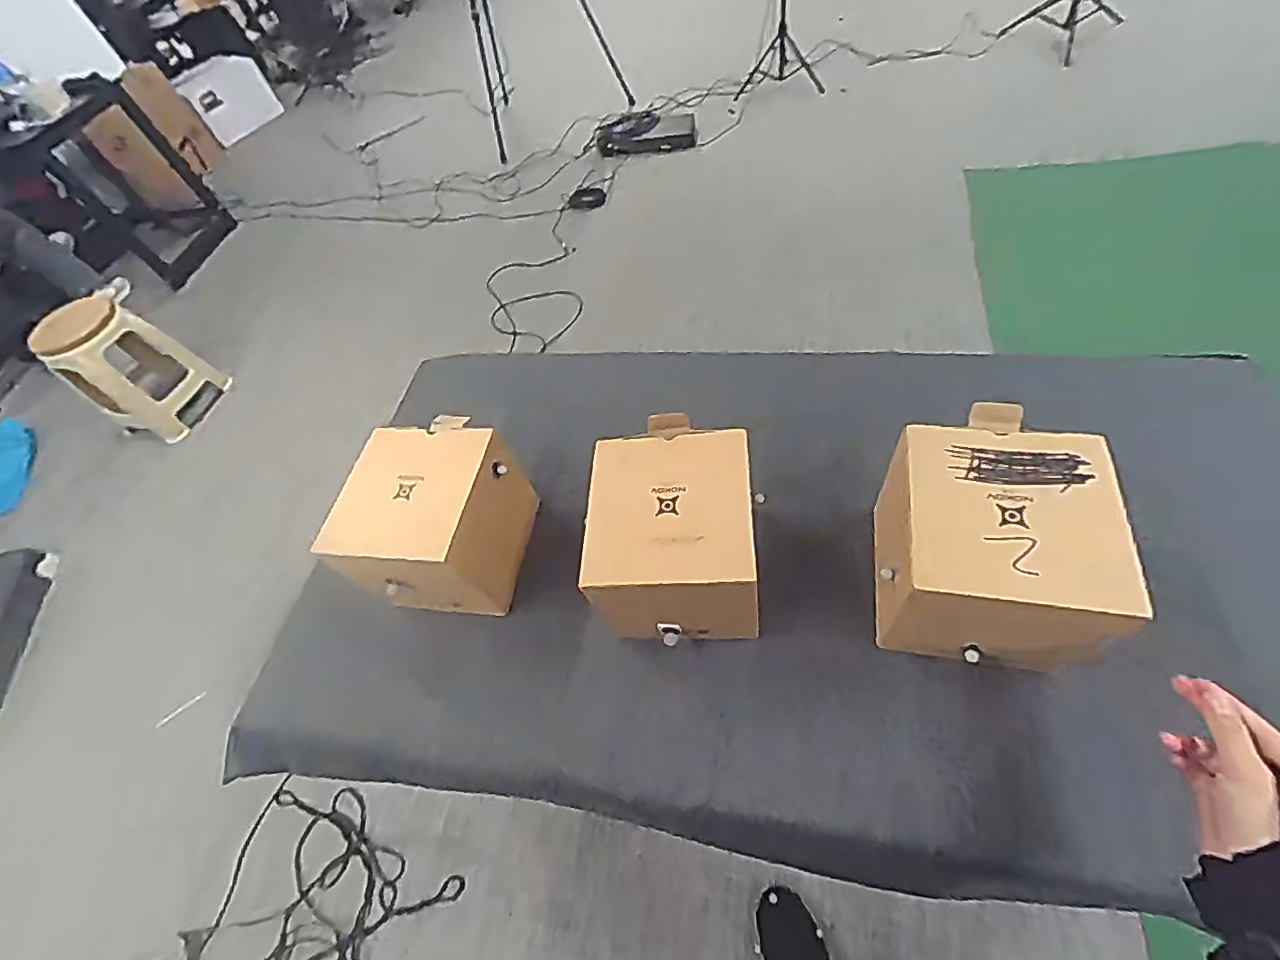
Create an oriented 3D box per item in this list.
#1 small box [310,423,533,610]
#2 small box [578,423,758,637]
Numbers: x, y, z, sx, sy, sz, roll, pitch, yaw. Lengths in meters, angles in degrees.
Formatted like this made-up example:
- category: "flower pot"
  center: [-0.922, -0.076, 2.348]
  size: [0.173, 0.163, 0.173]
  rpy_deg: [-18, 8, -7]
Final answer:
- category: "small box"
  center: [-0.249, 0.049, 0.669]
  size: [0.168, 0.176, 0.179]
  rpy_deg: [1, 56, 13]
- category: "small box"
  center: [0.041, 0.062, 0.597]
  size: [0.168, 0.176, 0.179]
  rpy_deg: [-5, 56, 11]
